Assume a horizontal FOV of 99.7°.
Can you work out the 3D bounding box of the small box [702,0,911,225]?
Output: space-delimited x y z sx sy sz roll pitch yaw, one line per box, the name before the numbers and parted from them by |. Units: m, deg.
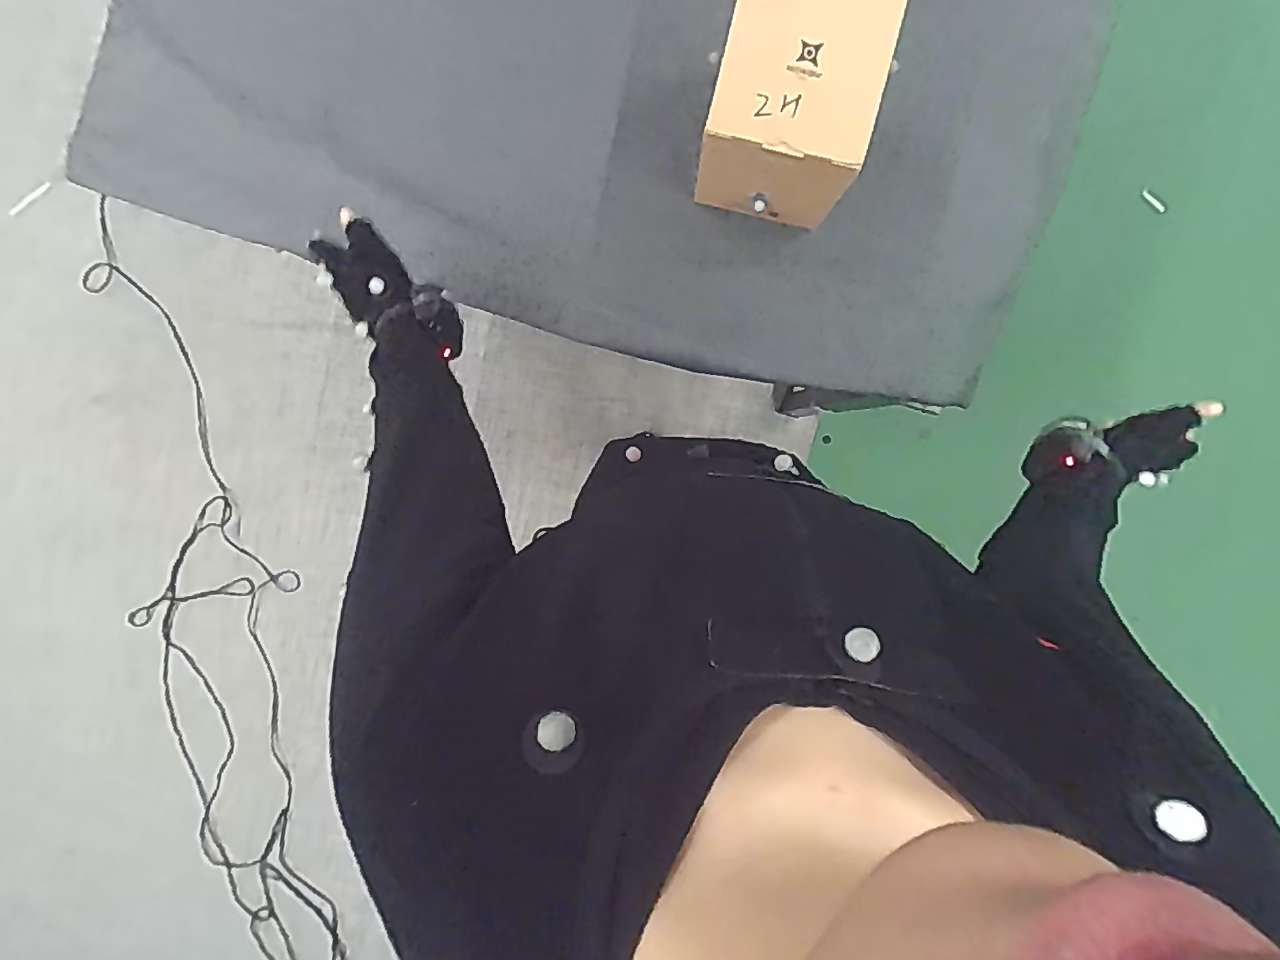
small box | 0.172 -0.427 0.619 0.168 0.176 0.179 14 95 1
